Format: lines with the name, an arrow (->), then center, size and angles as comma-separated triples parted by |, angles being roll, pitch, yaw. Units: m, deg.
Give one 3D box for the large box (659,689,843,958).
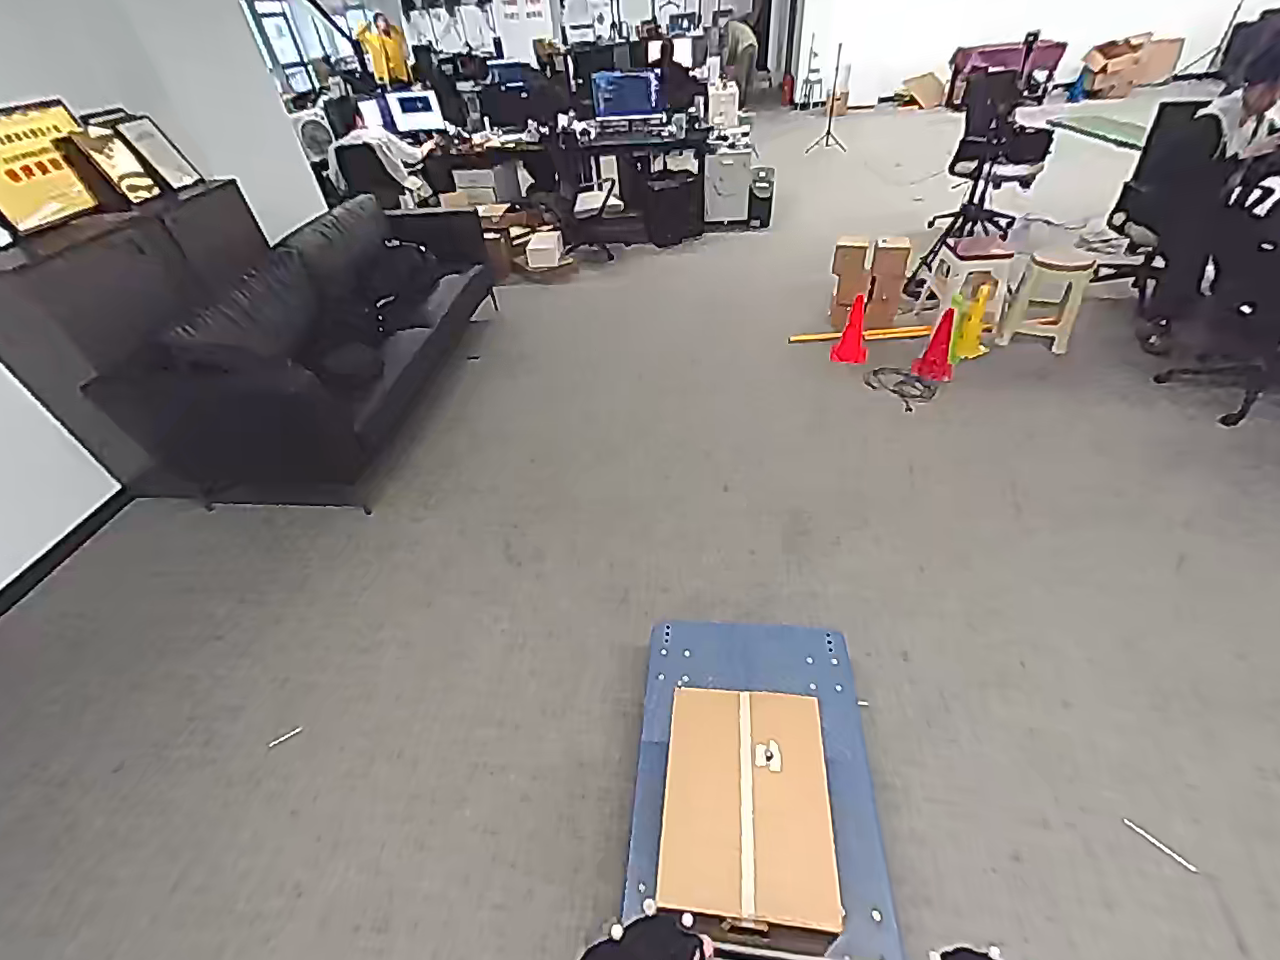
large box -> 0.219, 0.716, 1.150 | 0.320, 0.320, 0.408 | 1, 41, 8
